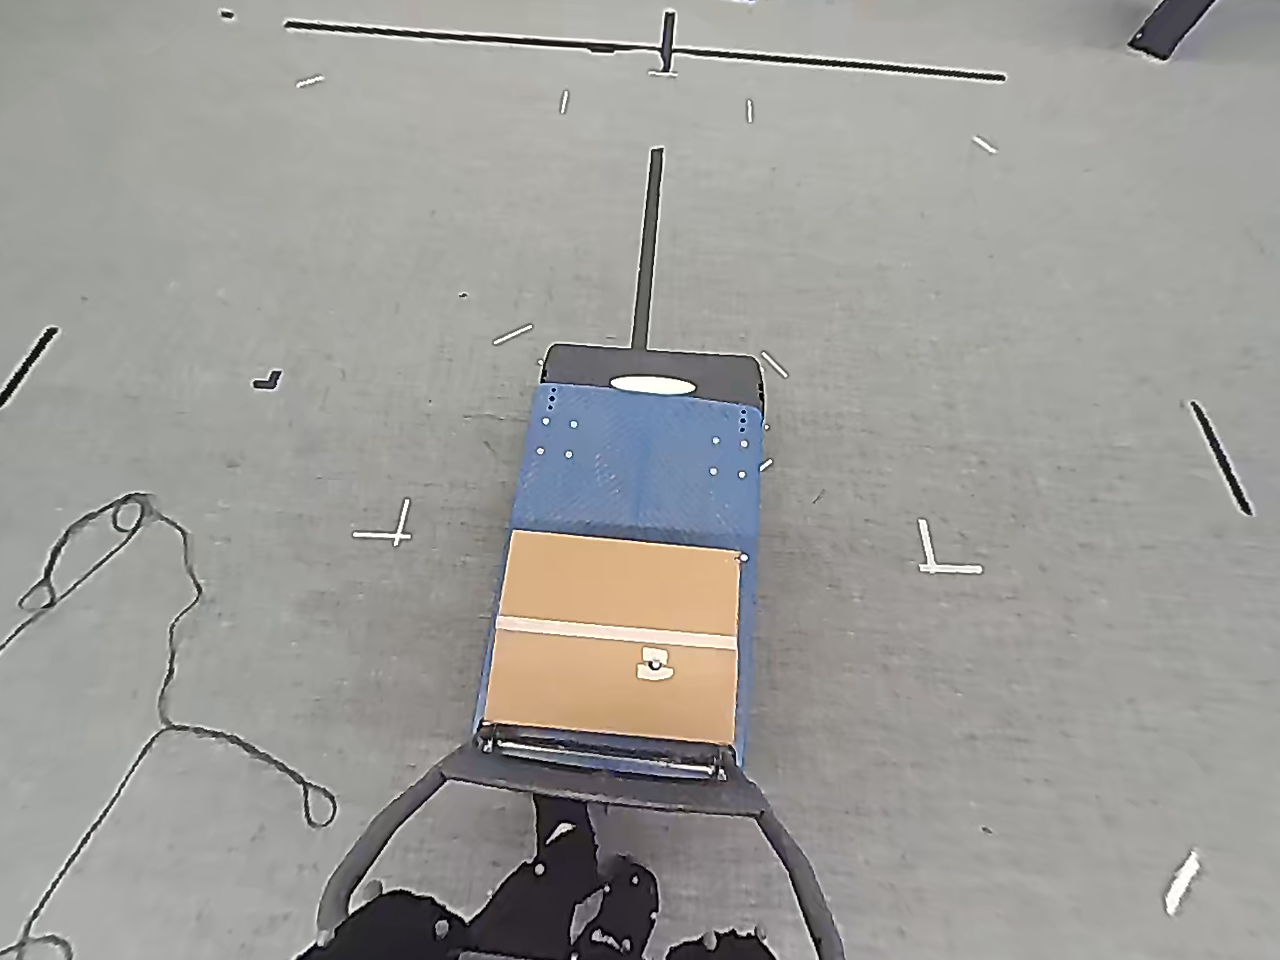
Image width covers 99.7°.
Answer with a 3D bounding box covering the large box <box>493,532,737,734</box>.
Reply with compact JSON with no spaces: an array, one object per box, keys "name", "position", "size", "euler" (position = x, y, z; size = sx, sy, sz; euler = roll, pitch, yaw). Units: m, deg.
[{"name":"large box","position":[-0.042,0.298,1.070],"size":[0.408,0.320,0.320],"euler":[6,74,-1]}]
